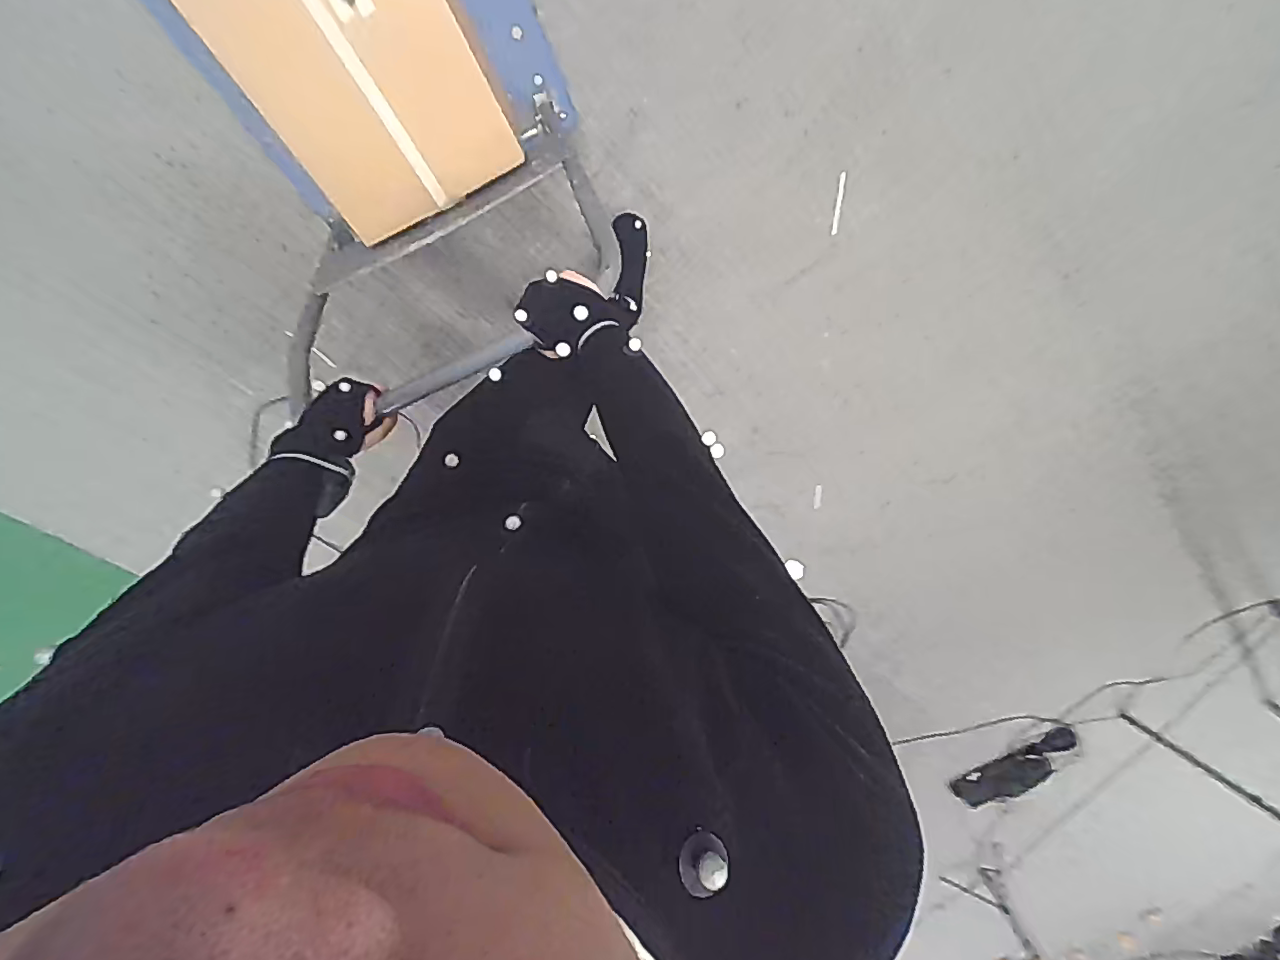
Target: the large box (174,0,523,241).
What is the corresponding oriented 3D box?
[{"bbox_3d":[-0.427,-0.685,0.870,0.320,0.320,0.408,-25,134,7],"label":"large box"}]
